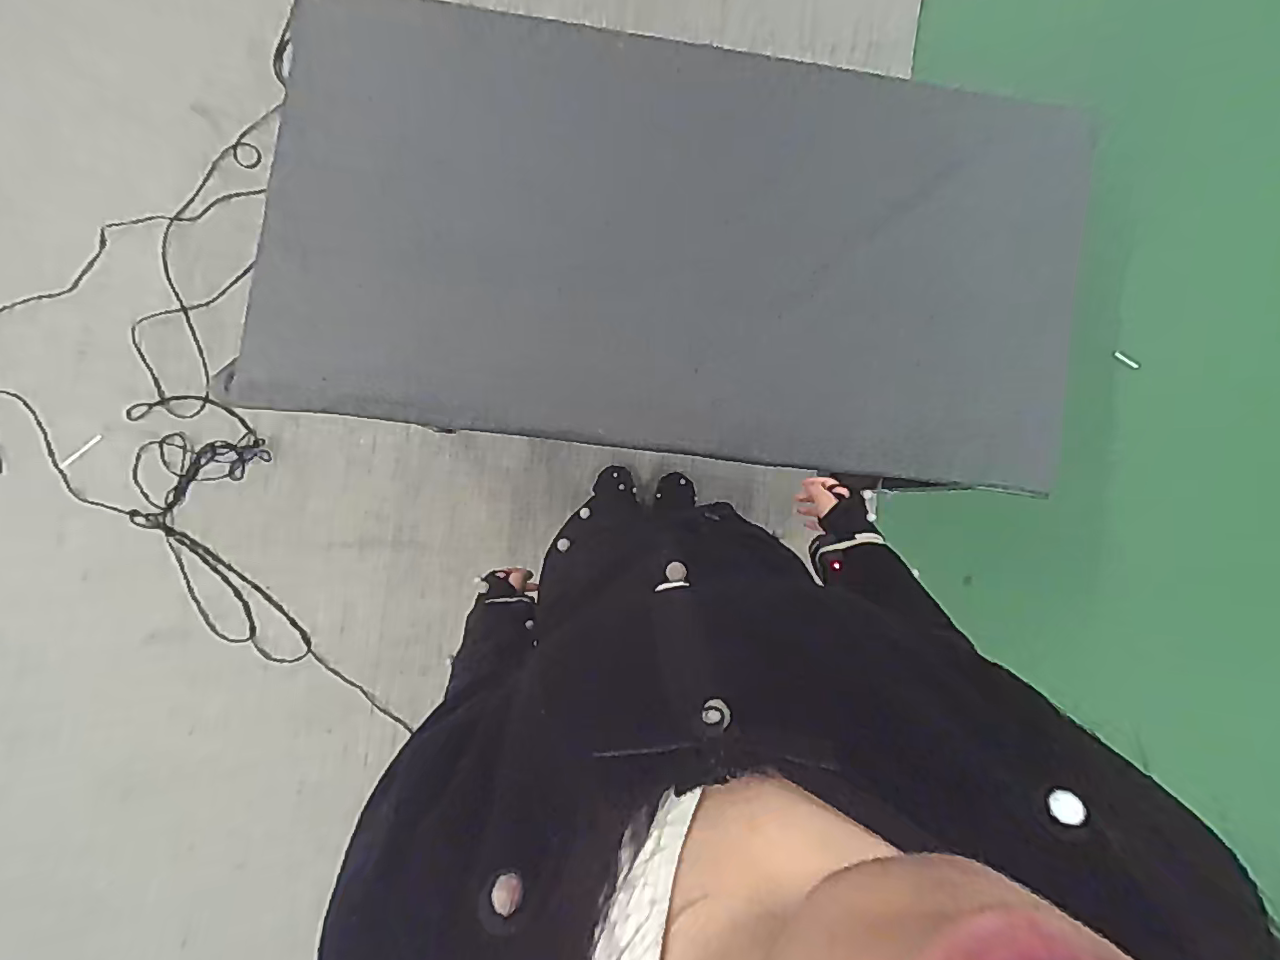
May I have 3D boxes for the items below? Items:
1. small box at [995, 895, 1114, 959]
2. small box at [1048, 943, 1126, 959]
[{"bbox_3d":[1.077,1.230,1.413,0.179,0.176,0.168,7,86,-3],"label":"small box"},{"bbox_3d":[1.087,1.224,1.252,0.179,0.176,0.168,6,87,-3],"label":"small box"}]
